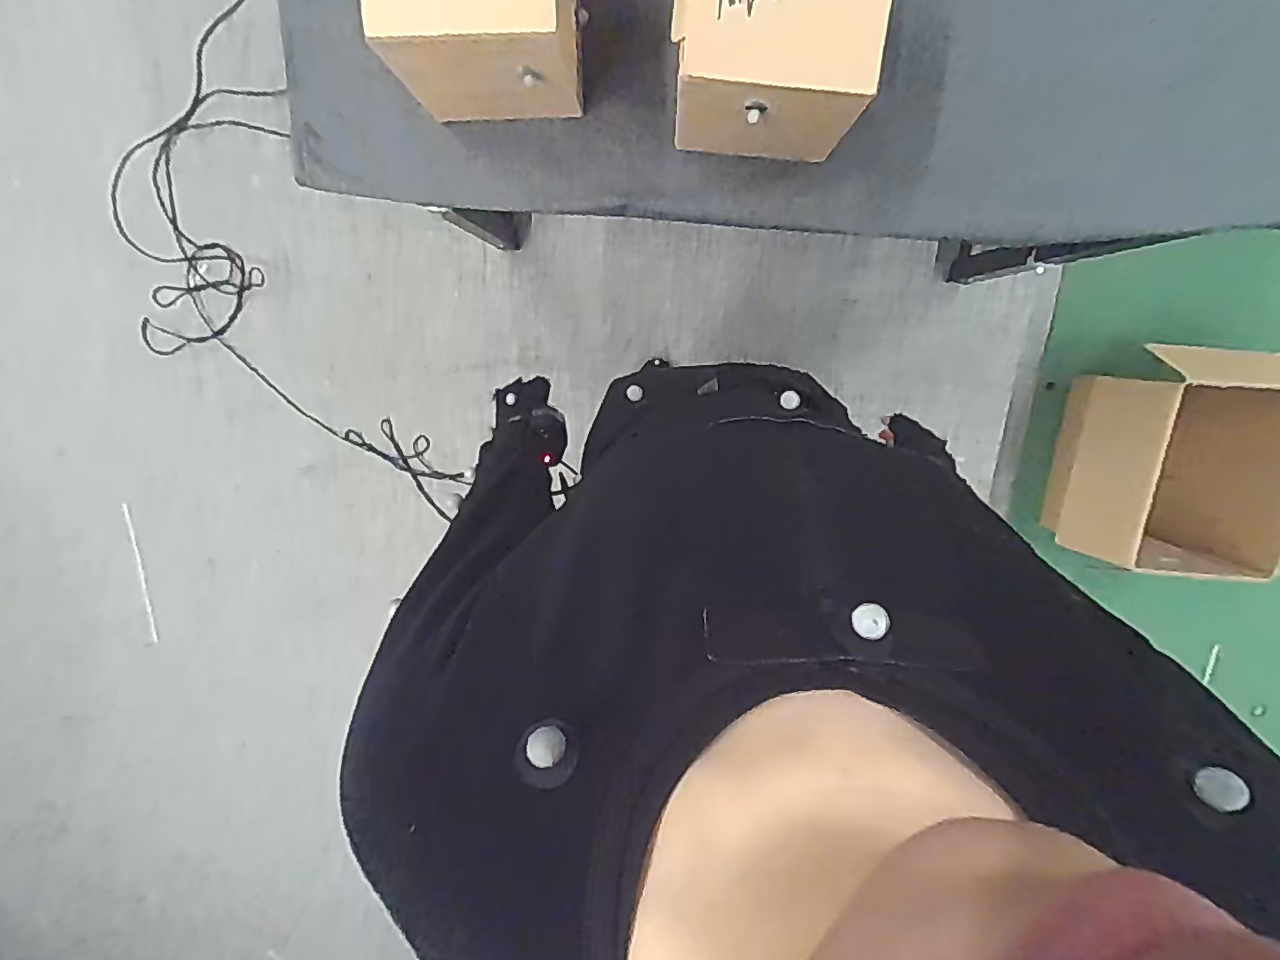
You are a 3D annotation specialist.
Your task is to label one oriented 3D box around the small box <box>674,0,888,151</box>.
[{"bbox_3d":[0.128,-0.444,0.529,0.179,0.176,0.168,6,104,1],"label":"small box"}]
